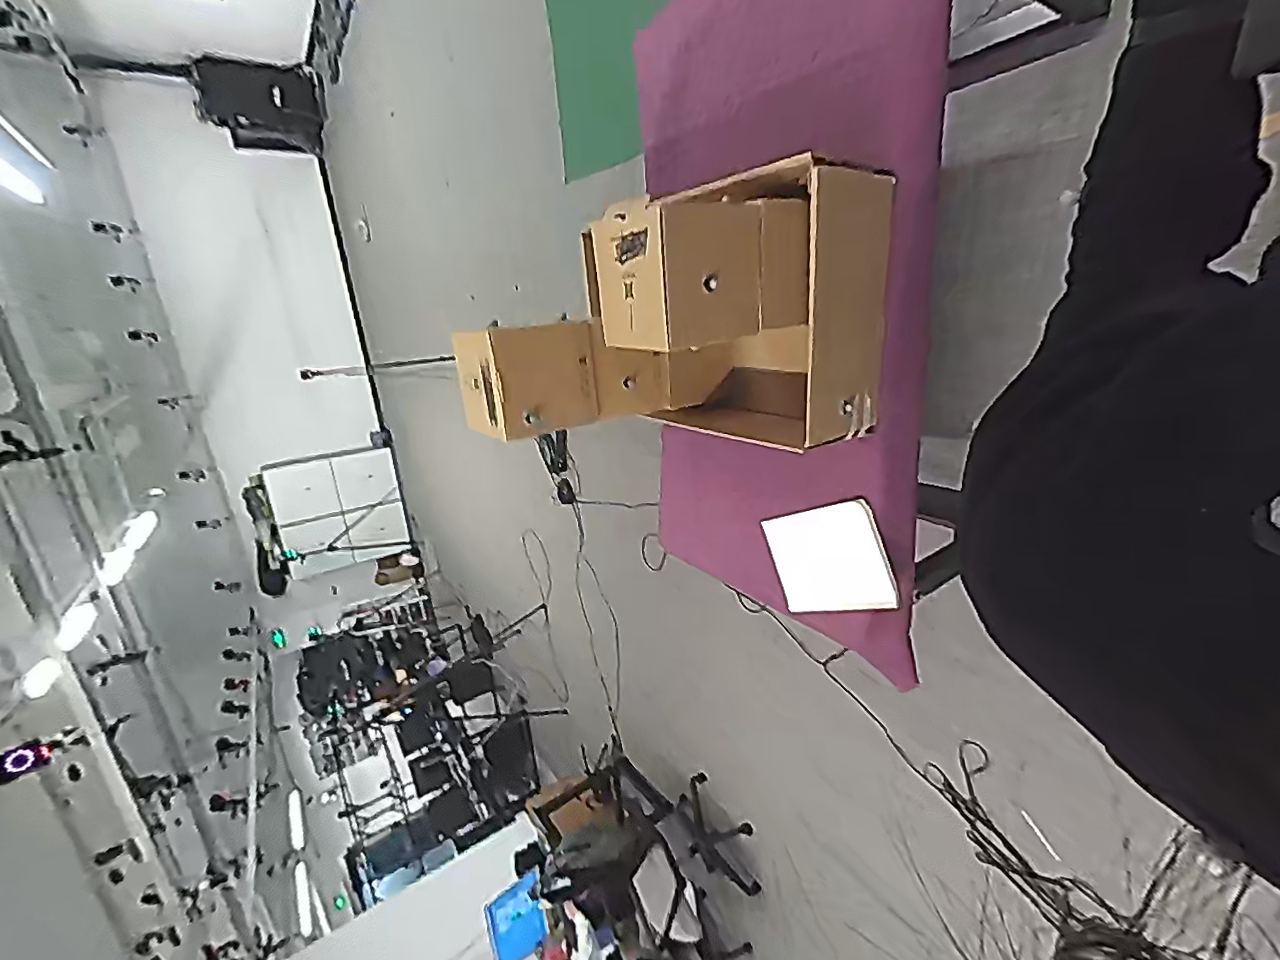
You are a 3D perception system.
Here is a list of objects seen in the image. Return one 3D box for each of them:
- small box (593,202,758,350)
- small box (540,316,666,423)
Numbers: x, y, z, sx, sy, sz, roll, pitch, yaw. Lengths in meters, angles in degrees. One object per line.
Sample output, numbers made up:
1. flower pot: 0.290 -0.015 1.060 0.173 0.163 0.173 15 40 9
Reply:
1. small box: 0.054 -0.290 0.774 0.168 0.176 0.179 24 125 52
2. small box: -0.062 -0.213 0.998 0.179 0.176 0.168 21 121 50
